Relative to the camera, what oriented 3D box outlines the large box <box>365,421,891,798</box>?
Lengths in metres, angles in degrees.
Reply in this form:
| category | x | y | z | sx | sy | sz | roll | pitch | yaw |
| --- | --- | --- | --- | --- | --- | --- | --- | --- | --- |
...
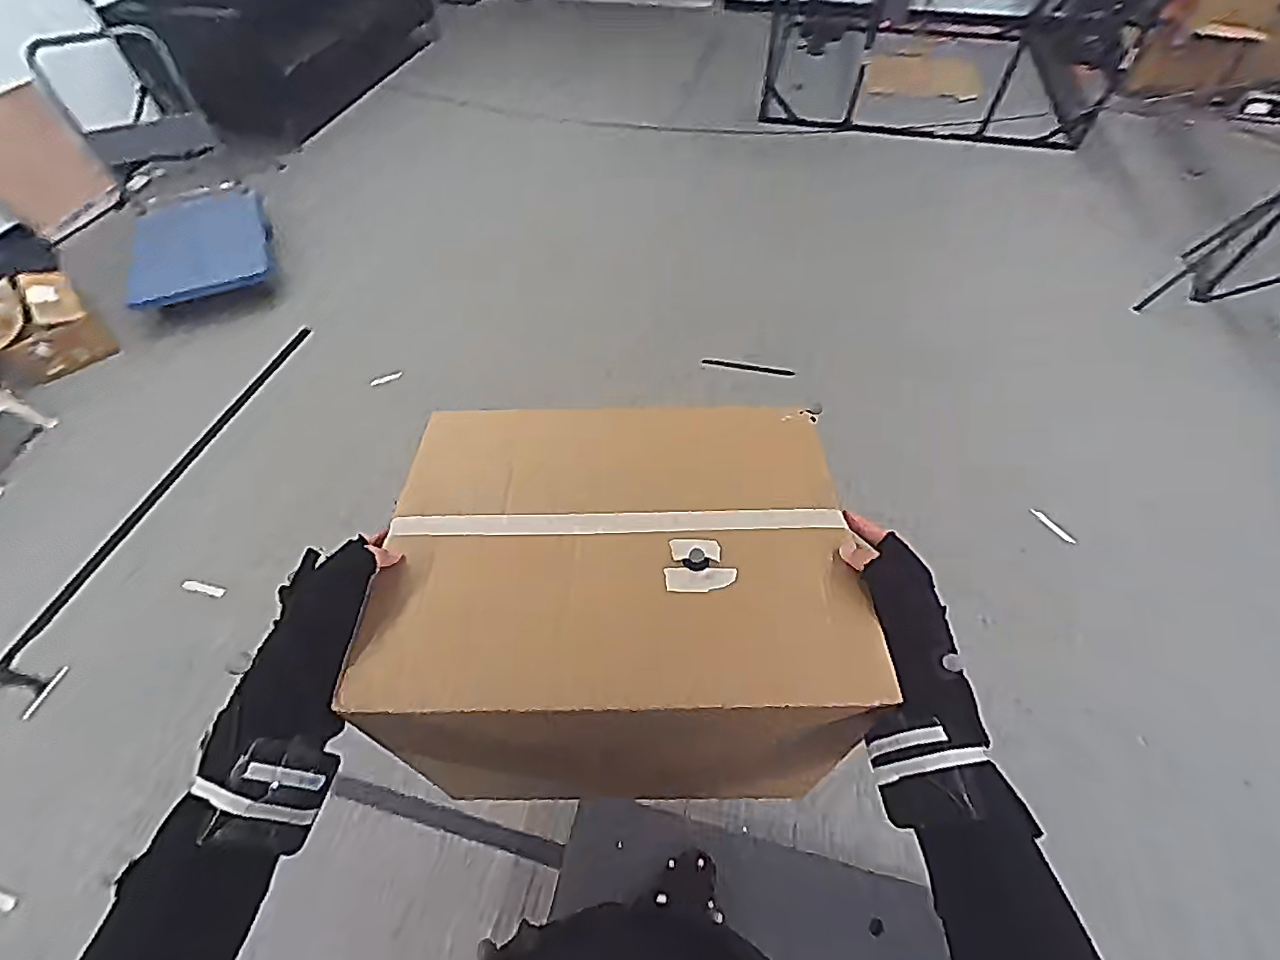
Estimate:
| category | x | y | z | sx | sy | sz | roll | pitch | yaw |
| --- | --- | --- | --- | --- | --- | --- | --- | --- | --- |
| large box | -0.011 | 0.149 | 0.610 | 0.408 | 0.320 | 0.320 | 0 | 49 | 0 |
